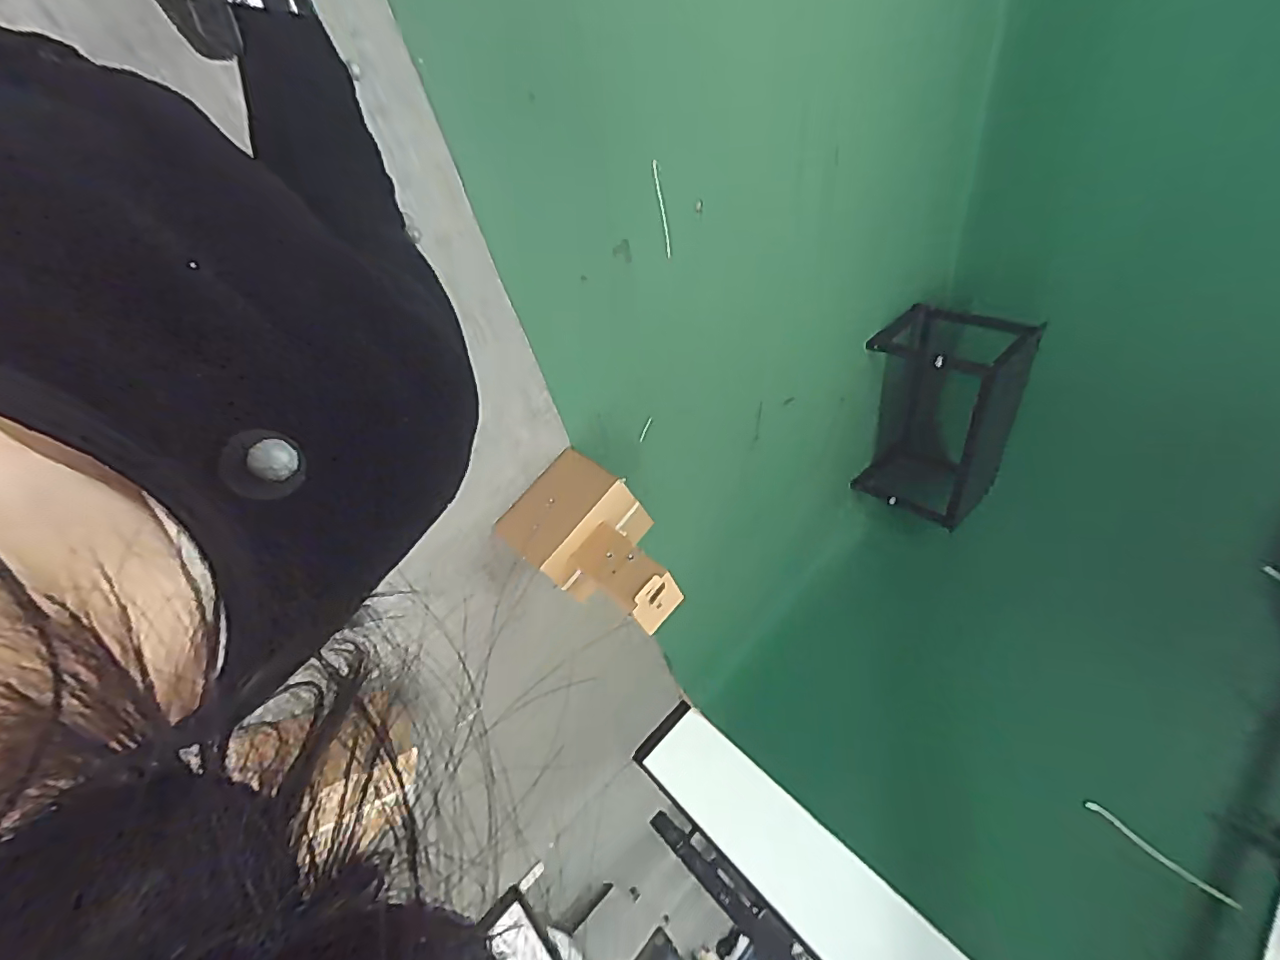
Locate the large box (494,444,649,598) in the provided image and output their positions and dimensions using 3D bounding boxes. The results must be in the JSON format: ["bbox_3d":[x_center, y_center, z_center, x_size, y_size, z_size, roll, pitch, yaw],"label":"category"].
[{"bbox_3d":[-0.245,0.147,1.981,0.408,0.320,0.320,-50,141,-13],"label":"large box"}]

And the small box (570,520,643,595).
[{"bbox_3d":[-0.101,0.266,1.819,0.179,0.176,0.168,-46,137,-14],"label":"small box"}]

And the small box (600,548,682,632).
[{"bbox_3d":[0.001,0.341,1.715,0.168,0.176,0.179,-45,137,-16],"label":"small box"}]
